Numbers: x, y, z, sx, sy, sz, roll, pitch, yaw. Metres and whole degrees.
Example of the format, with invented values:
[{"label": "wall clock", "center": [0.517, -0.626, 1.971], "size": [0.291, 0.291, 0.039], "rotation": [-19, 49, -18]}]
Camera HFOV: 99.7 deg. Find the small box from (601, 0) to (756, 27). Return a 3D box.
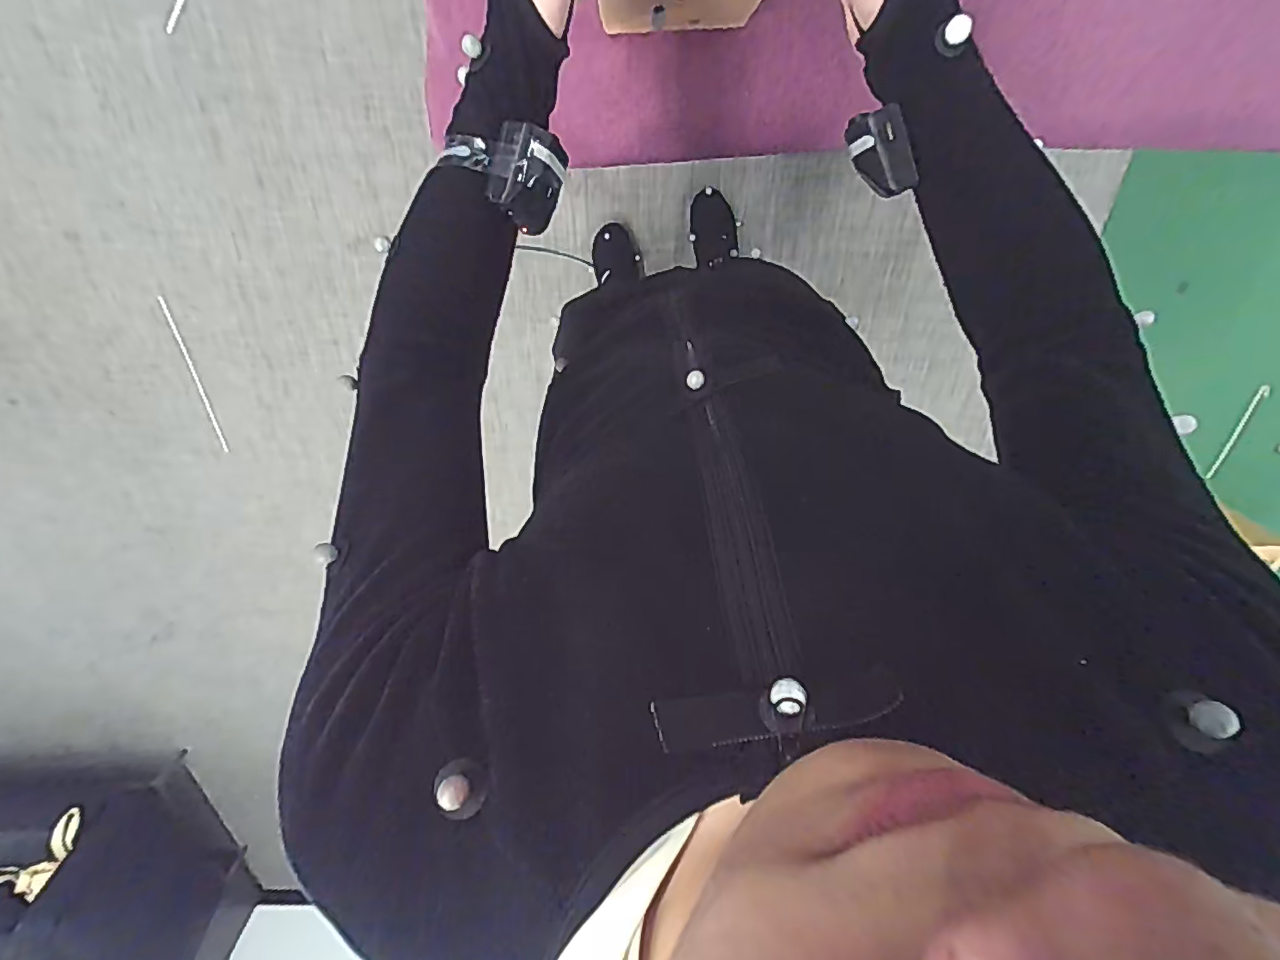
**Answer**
[{"label": "small box", "center": [0.041, -0.565, 0.522], "size": [0.168, 0.176, 0.179], "rotation": [-2, 119, 2]}]
